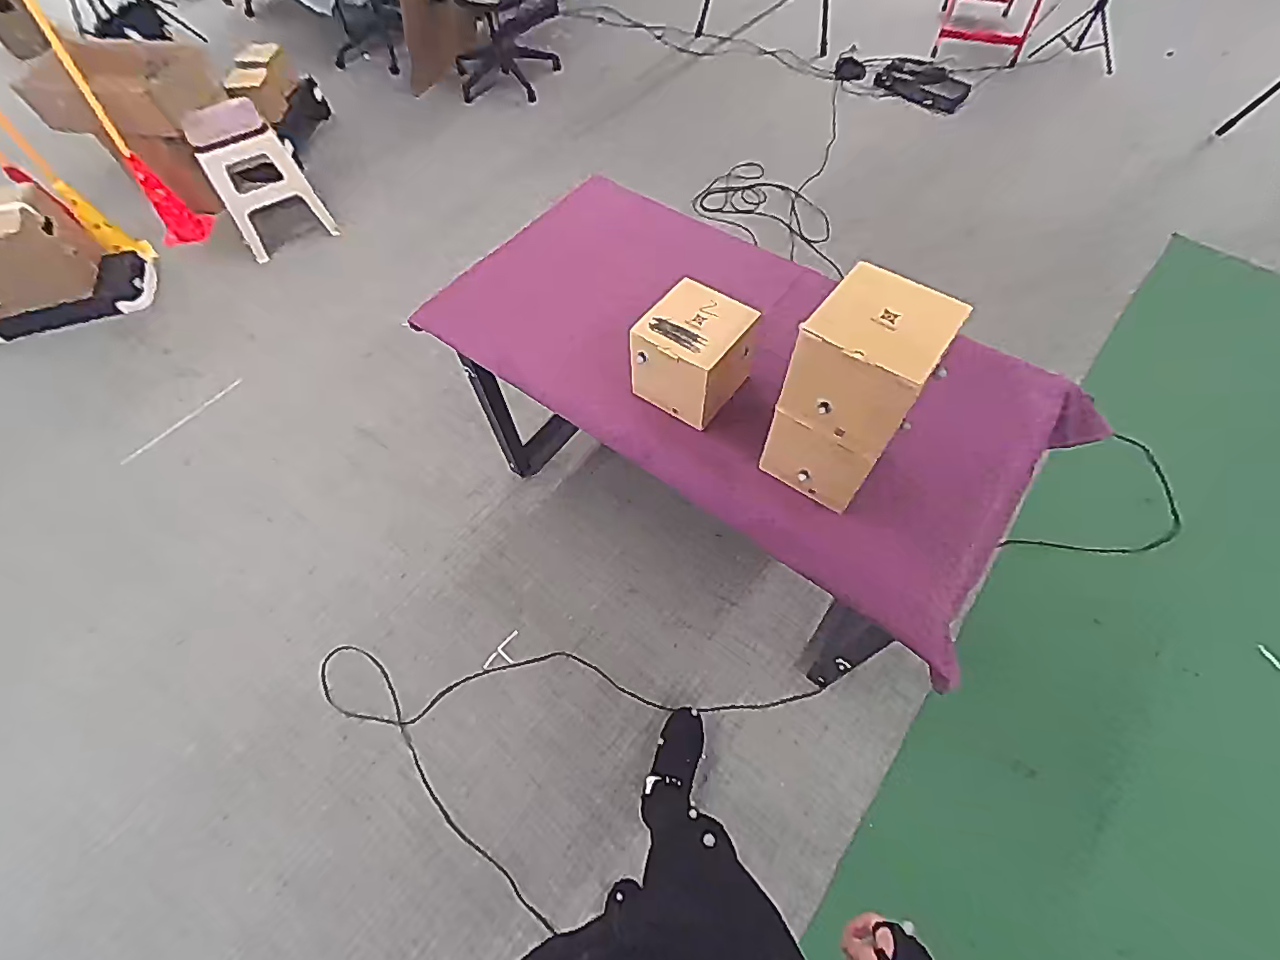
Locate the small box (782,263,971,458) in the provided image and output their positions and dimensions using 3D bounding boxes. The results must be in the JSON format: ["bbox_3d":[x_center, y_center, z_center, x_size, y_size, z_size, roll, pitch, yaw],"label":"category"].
[{"bbox_3d":[0.326,-0.167,0.778,0.168,0.176,0.179,33,66,19],"label":"small box"}]

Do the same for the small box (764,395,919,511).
[{"bbox_3d":[0.329,-0.082,0.917,0.168,0.176,0.179,33,66,20],"label":"small box"}]
